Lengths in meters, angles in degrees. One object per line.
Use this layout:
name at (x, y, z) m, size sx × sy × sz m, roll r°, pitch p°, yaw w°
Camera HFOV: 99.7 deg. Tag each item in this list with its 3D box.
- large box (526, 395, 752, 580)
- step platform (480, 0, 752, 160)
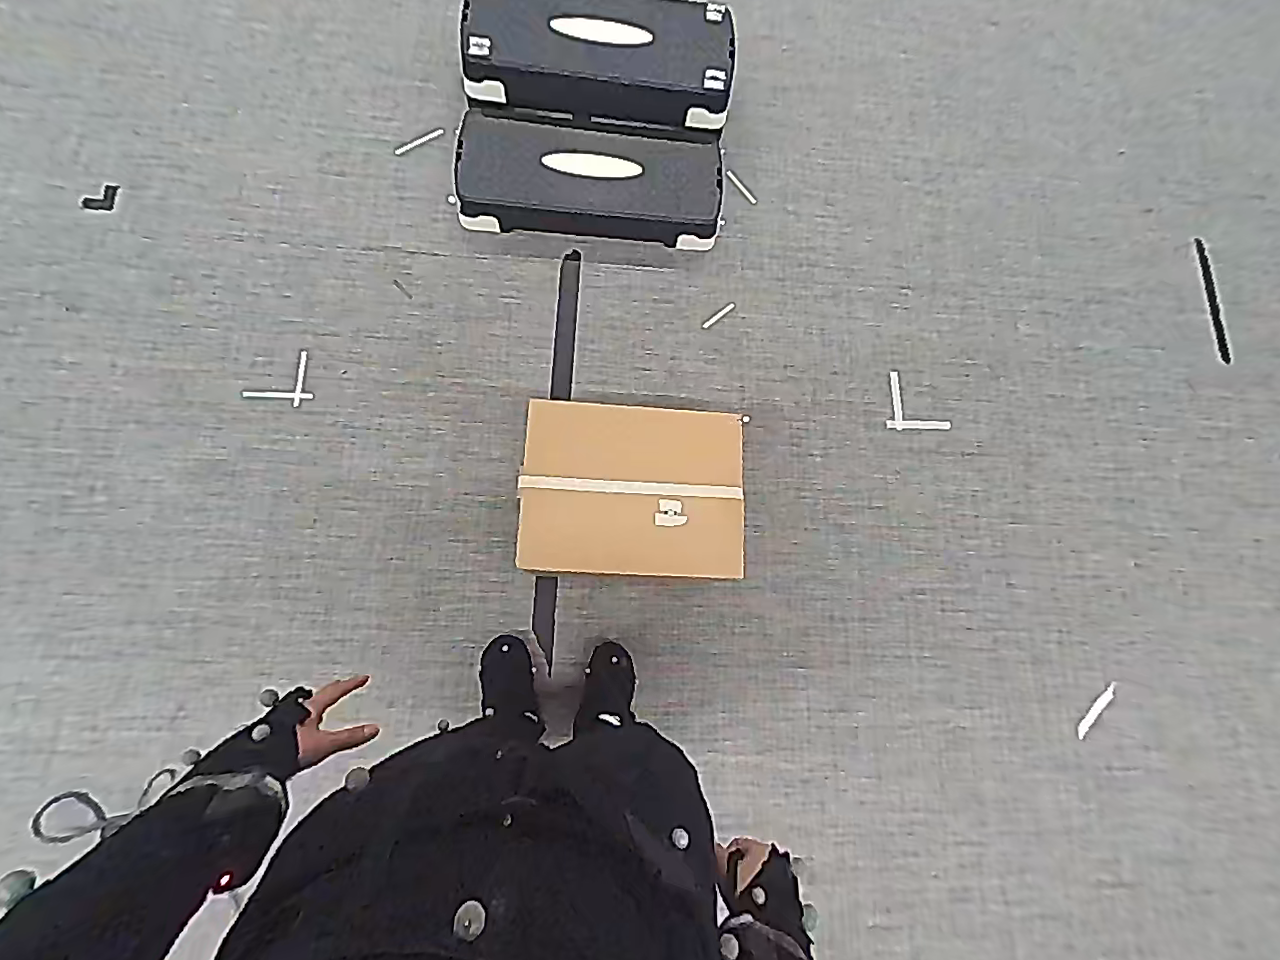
large box at (-0.013, 0.038, 1.113) m, size 0.408 × 0.320 × 0.320 m, roll 4°, pitch 78°, yaw -6°
step platform at (-0.058, -1.074, 1.398) m, size 0.684 × 0.204 × 0.286 m, roll 9°, pitch 77°, yaw -5°
